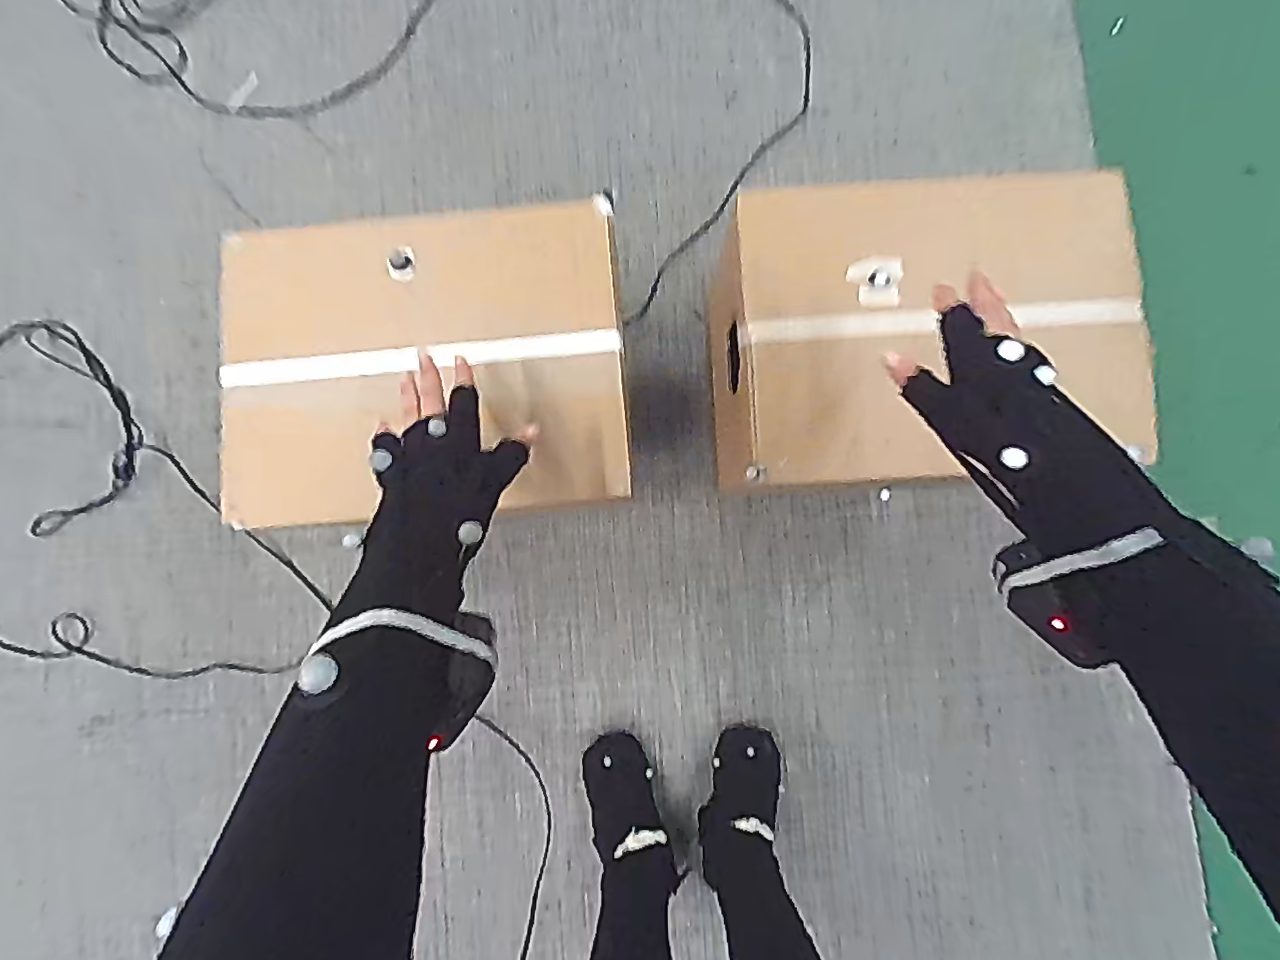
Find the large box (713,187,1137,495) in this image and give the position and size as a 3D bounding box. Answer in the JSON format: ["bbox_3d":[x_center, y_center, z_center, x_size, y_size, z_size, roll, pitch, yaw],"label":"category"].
[{"bbox_3d":[0.320,-0.145,0.725,0.408,0.320,0.320,-2,86,1],"label":"large box"}]
